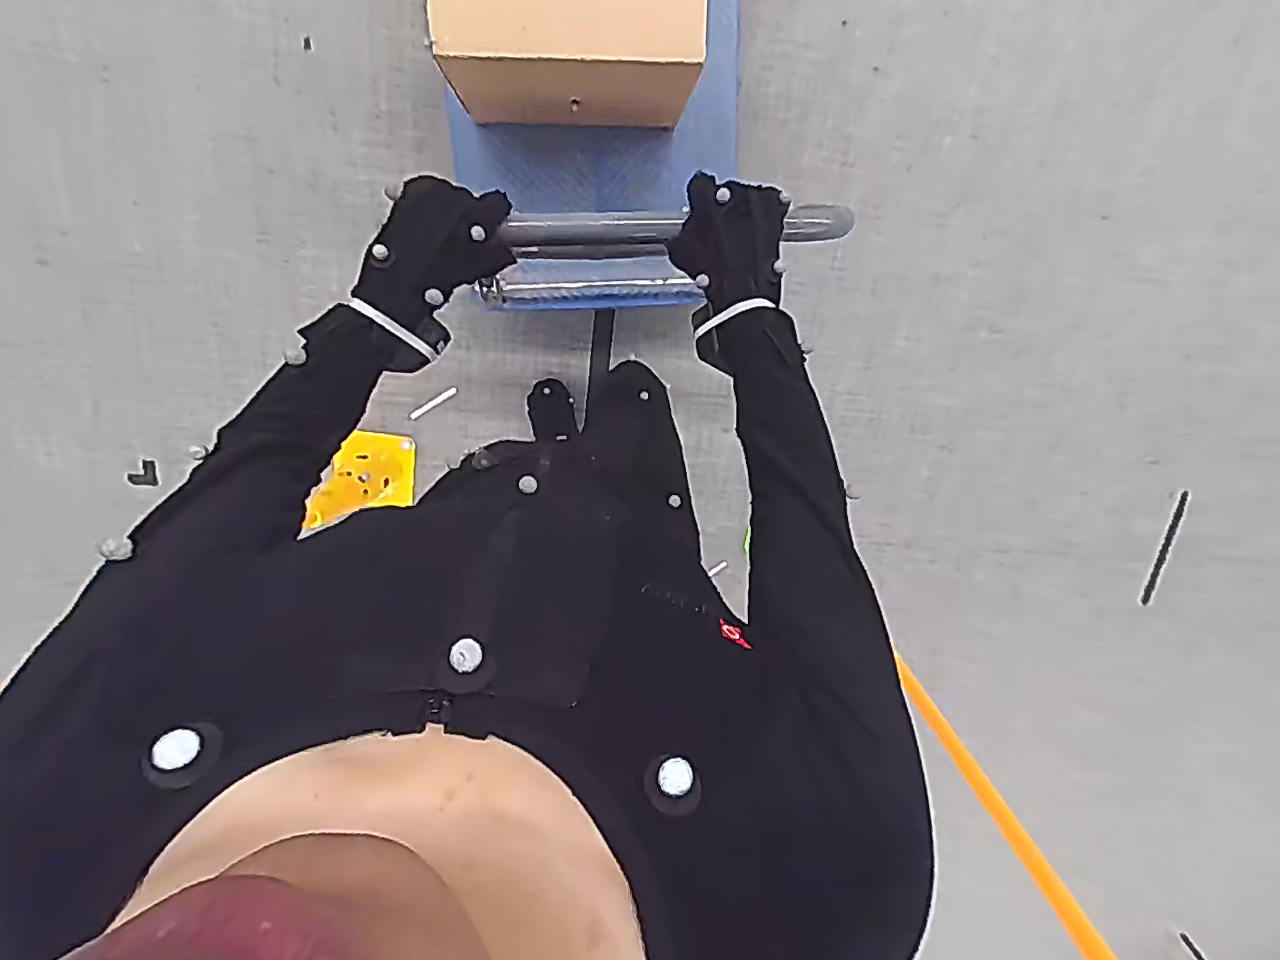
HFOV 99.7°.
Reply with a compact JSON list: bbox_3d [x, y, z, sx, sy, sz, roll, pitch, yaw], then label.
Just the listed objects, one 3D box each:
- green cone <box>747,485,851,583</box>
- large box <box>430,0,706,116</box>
[{"bbox_3d":[0.438,0.169,1.401,0.202,0.368,0.200,8,106,-9],"label":"green cone"},{"bbox_3d":[-0.112,-0.823,0.893,0.408,0.320,0.320,-2,108,-4],"label":"large box"}]
